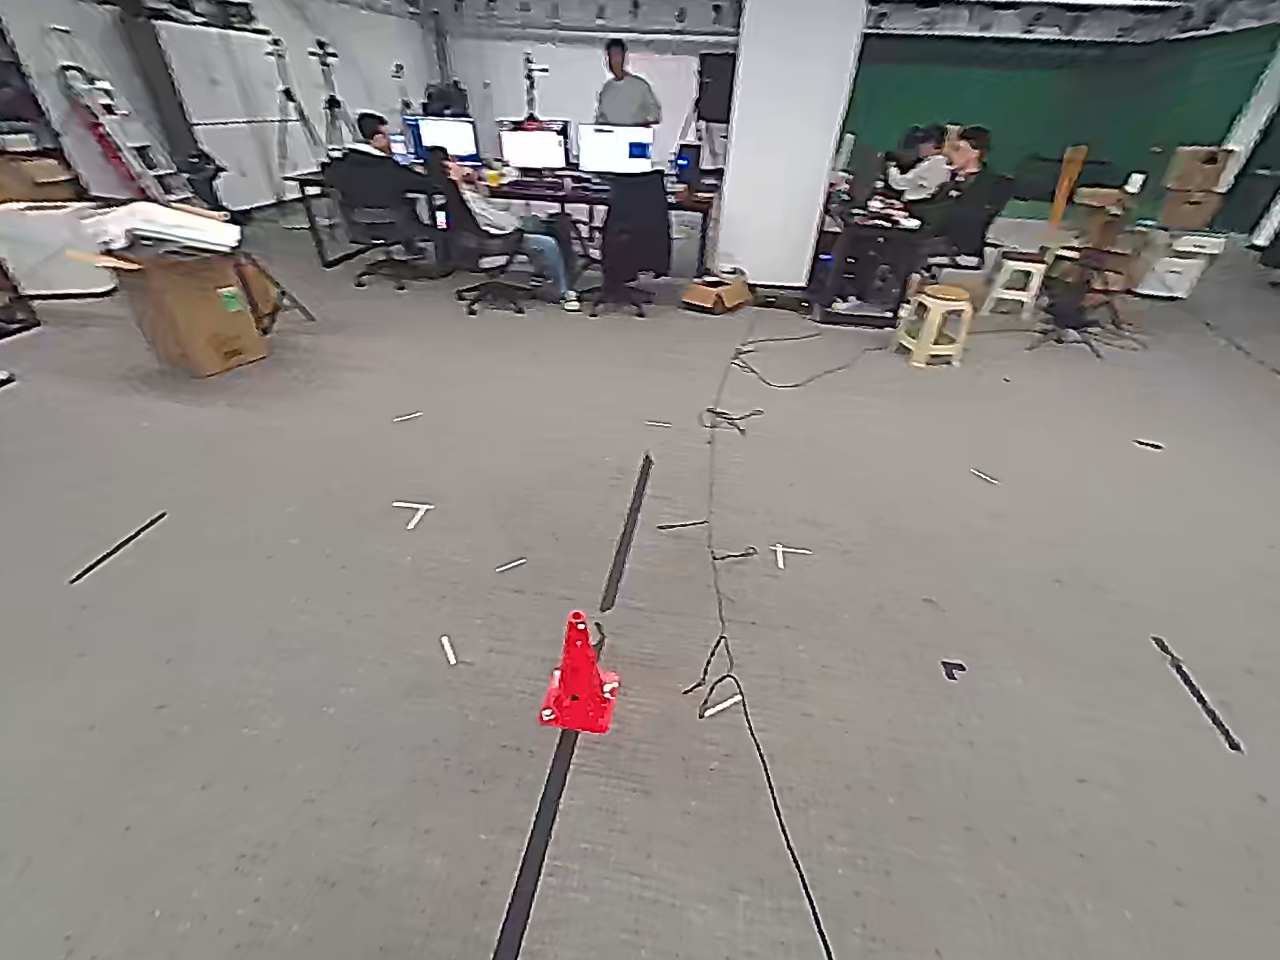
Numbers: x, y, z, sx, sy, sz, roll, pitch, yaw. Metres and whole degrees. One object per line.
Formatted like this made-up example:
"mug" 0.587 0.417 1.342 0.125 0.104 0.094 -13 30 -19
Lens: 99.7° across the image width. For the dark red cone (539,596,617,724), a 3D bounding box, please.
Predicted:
"dark red cone" -0.164 0.465 1.460 0.201 0.394 0.202 7 35 5
